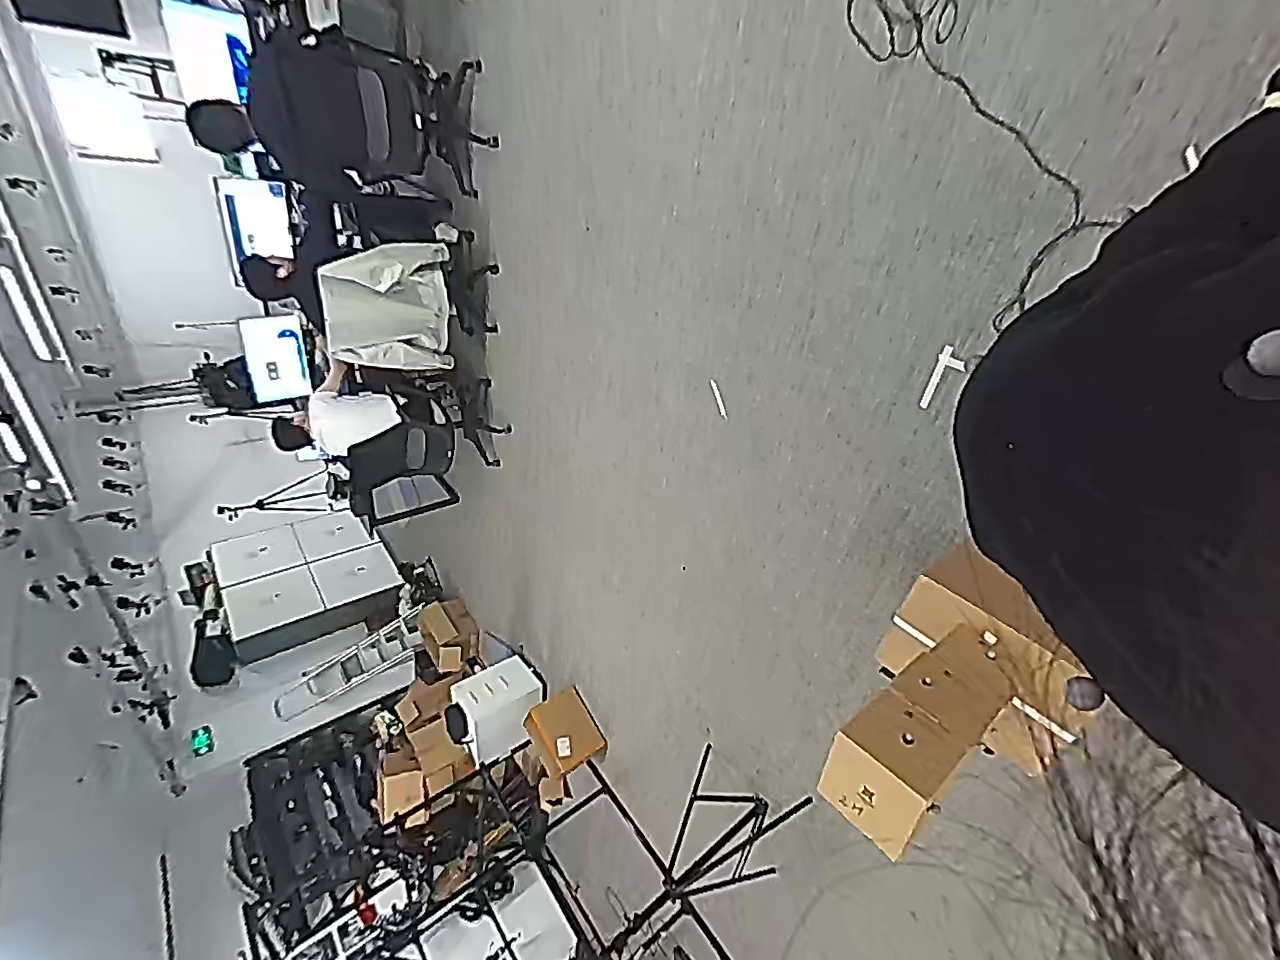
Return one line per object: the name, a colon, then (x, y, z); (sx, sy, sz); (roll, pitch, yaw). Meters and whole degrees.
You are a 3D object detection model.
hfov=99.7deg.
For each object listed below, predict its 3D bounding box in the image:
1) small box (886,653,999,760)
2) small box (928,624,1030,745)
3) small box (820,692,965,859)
small box: (0.592, 0.487, 1.098); (0.168, 0.176, 0.179); (37, 131, 40)
small box: (0.718, 0.455, 1.195); (0.168, 0.176, 0.179); (37, 130, 38)
small box: (0.467, 0.532, 0.999); (0.168, 0.176, 0.179); (33, 128, 43)
